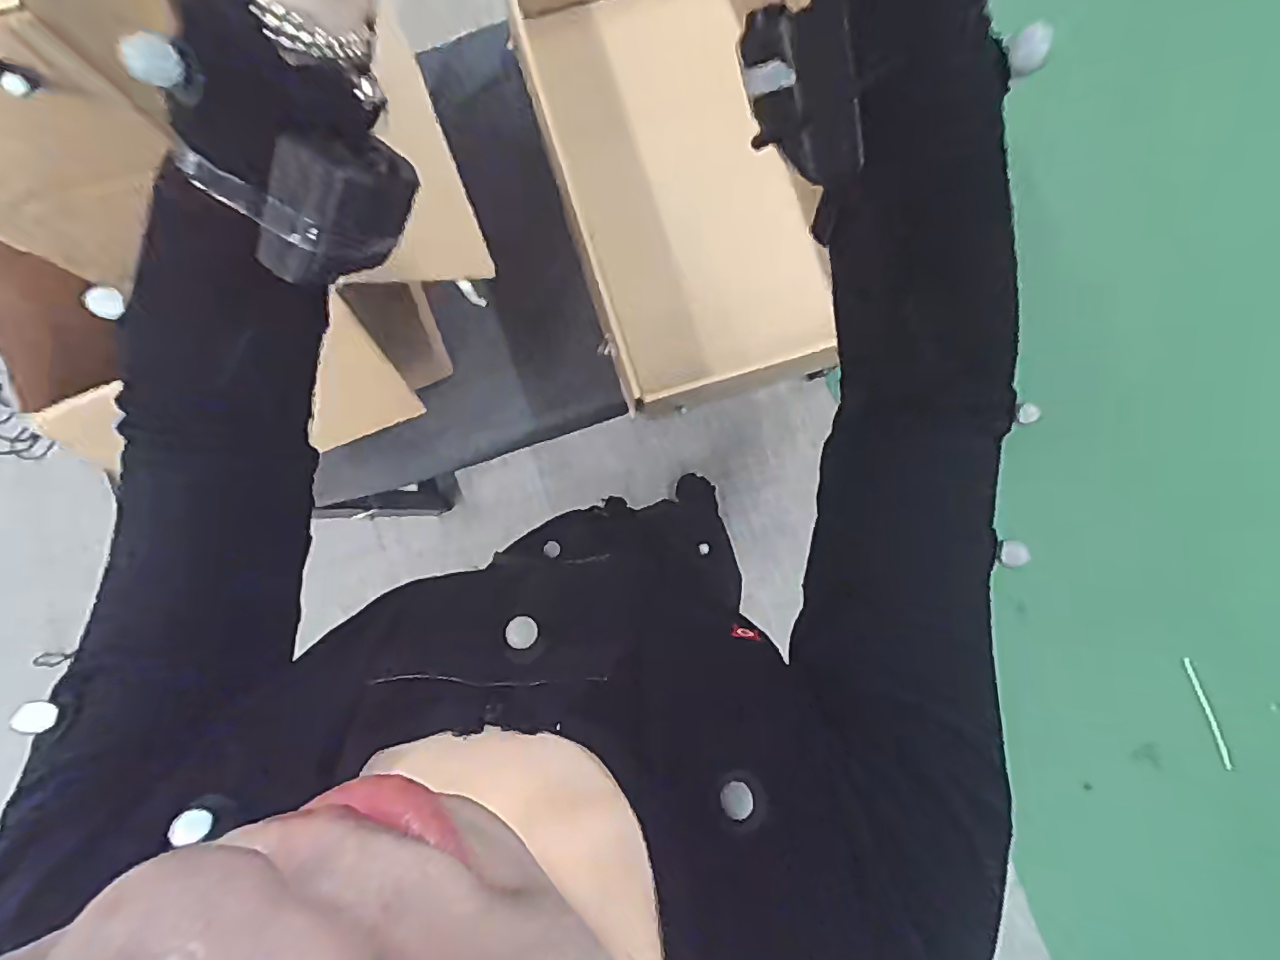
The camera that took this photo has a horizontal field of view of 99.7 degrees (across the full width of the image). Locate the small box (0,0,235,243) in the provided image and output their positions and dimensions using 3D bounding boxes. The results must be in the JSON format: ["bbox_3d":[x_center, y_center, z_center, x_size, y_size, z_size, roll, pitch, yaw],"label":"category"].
[{"bbox_3d":[-0.442,-0.297,0.378,0.179,0.176,0.168,-19,85,-6],"label":"small box"}]
